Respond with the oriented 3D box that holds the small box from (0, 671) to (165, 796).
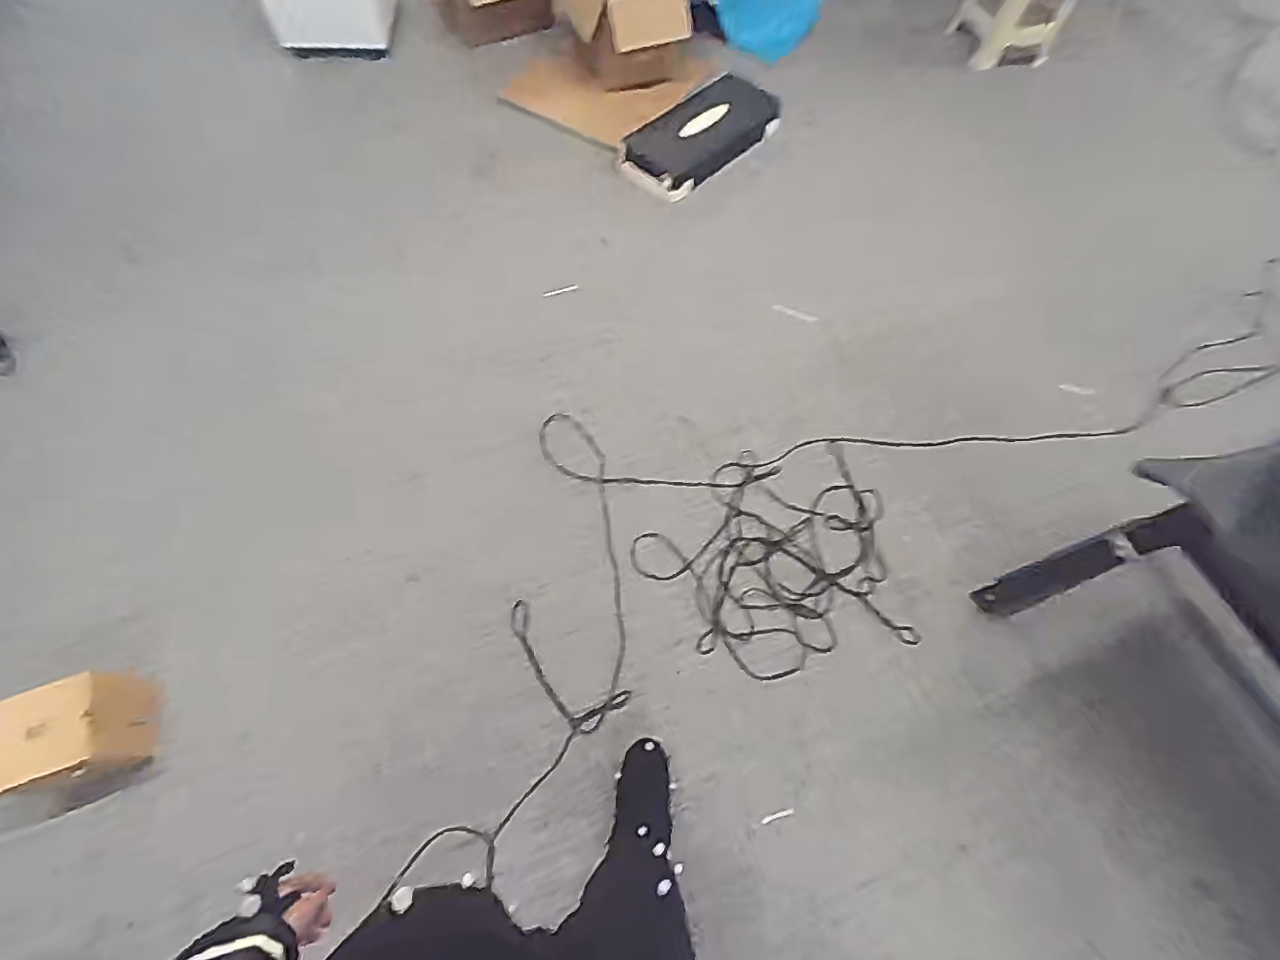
[{"bbox_3d":[-1.085,0.494,1.055,0.179,0.176,0.168,-19,67,-13],"label":"small box"}]
